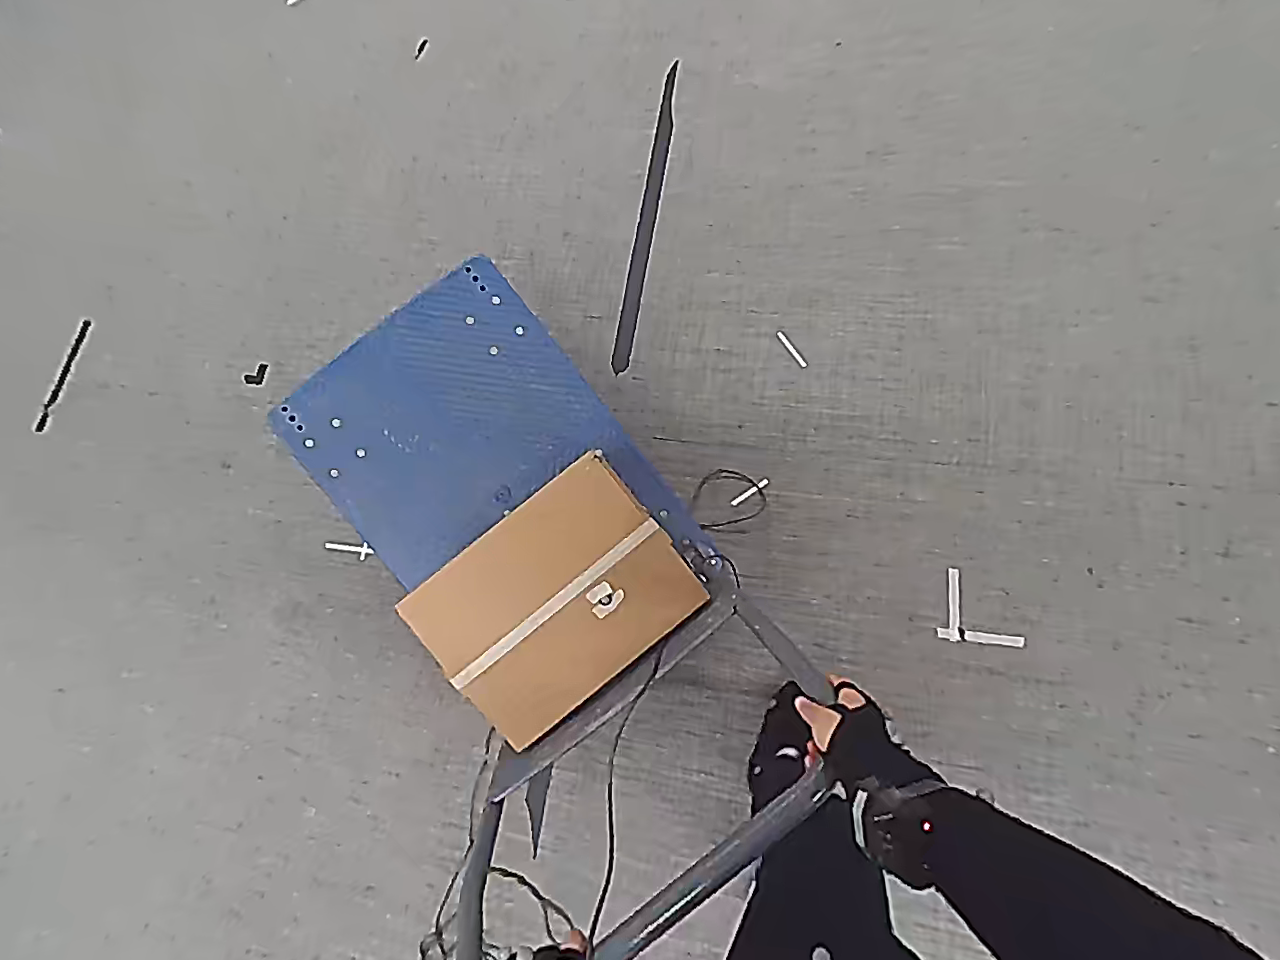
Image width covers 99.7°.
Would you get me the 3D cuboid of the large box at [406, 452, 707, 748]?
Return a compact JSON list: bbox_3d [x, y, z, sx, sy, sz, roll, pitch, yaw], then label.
[{"bbox_3d":[-0.143,0.196,1.028,0.408,0.320,0.320,-39,94,-3],"label":"large box"}]
